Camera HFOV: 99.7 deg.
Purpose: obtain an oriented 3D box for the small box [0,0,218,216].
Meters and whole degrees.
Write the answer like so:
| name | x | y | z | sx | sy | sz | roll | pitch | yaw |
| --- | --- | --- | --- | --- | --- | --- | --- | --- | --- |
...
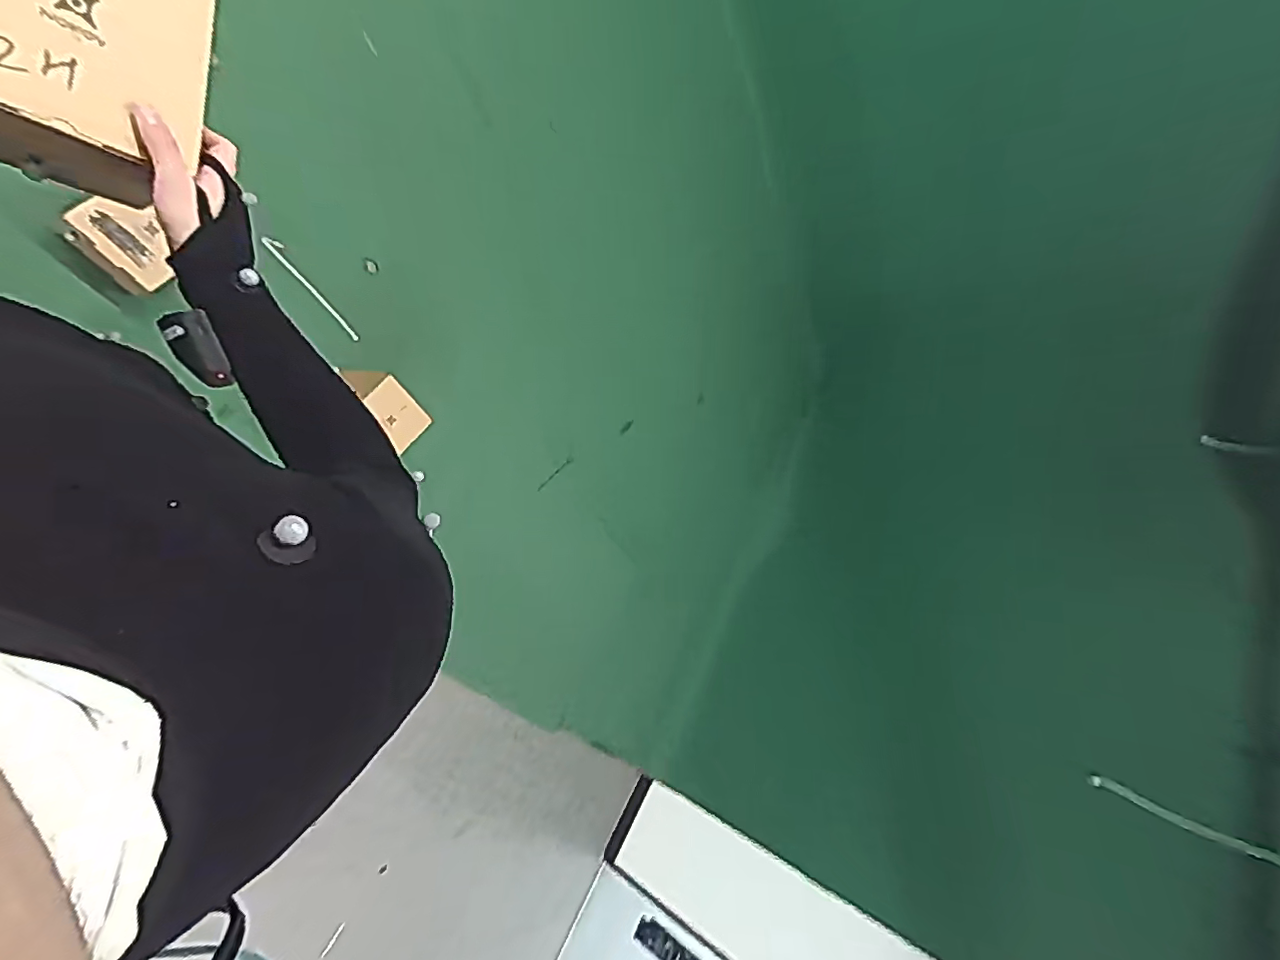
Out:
| name | x | y | z | sx | sy | sz | roll | pitch | yaw |
| --- | --- | --- | --- | --- | --- | --- | --- | --- | --- |
| small box | -0.481 | -0.355 | 0.447 | 0.168 | 0.176 | 0.179 | 6 | 87 | -53 |

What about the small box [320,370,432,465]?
| name | x | y | z | sx | sy | sz | roll | pitch | yaw |
| --- | --- | --- | --- | --- | --- | --- | --- | --- | --- |
| small box | -0.687 | -0.166 | 1.395 | 0.179 | 0.176 | 0.168 | -55 | 137 | -25 |
